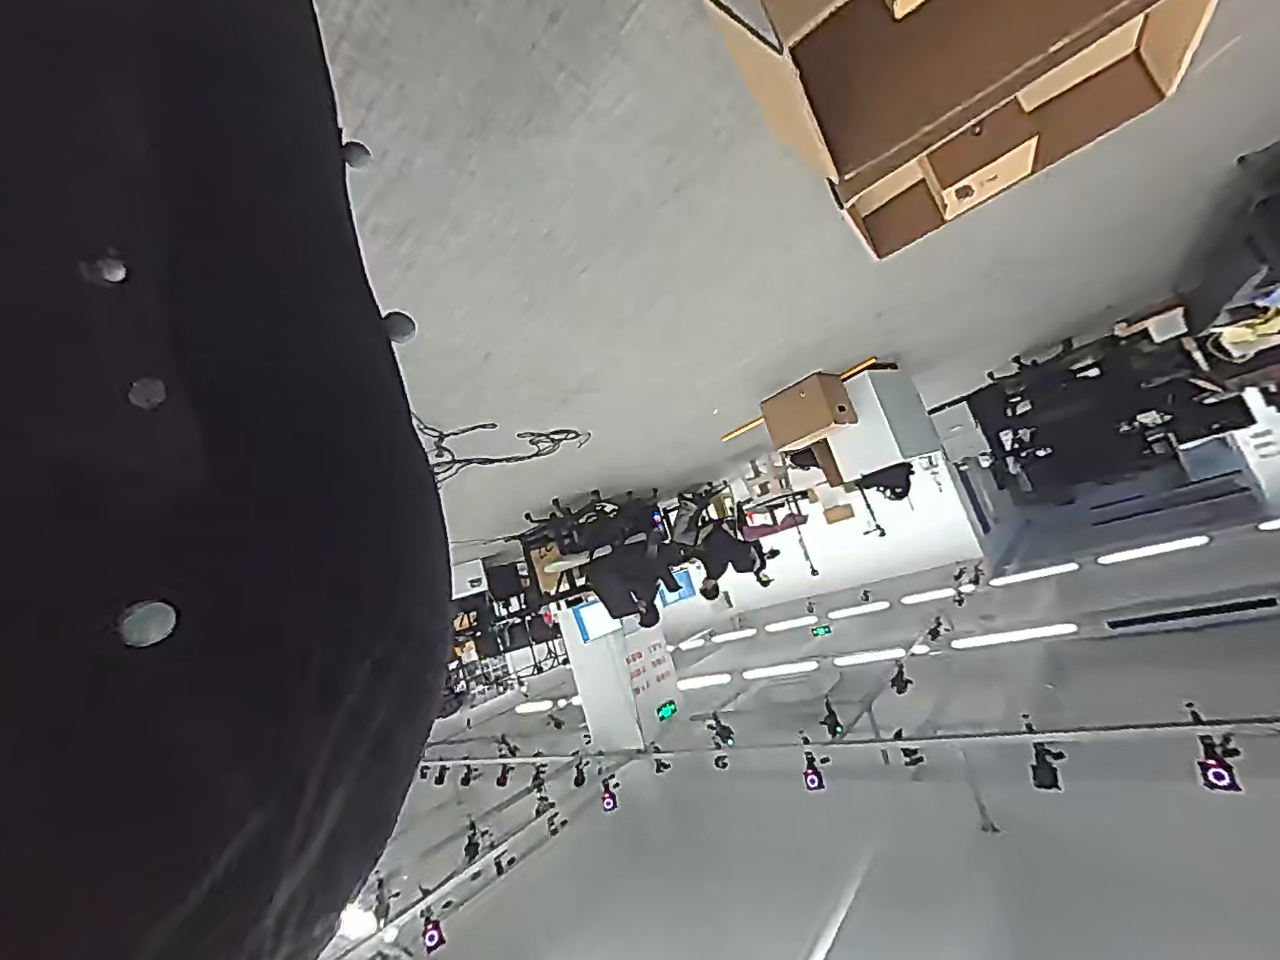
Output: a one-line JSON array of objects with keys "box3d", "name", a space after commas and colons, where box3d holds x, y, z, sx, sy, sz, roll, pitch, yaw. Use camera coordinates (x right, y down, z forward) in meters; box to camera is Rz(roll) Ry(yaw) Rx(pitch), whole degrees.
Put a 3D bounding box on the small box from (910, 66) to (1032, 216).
[{"box3d": [0.702, -0.721, 1.164, 0.179, 0.176, 0.168, -25, 169, 29], "name": "small box"}]
